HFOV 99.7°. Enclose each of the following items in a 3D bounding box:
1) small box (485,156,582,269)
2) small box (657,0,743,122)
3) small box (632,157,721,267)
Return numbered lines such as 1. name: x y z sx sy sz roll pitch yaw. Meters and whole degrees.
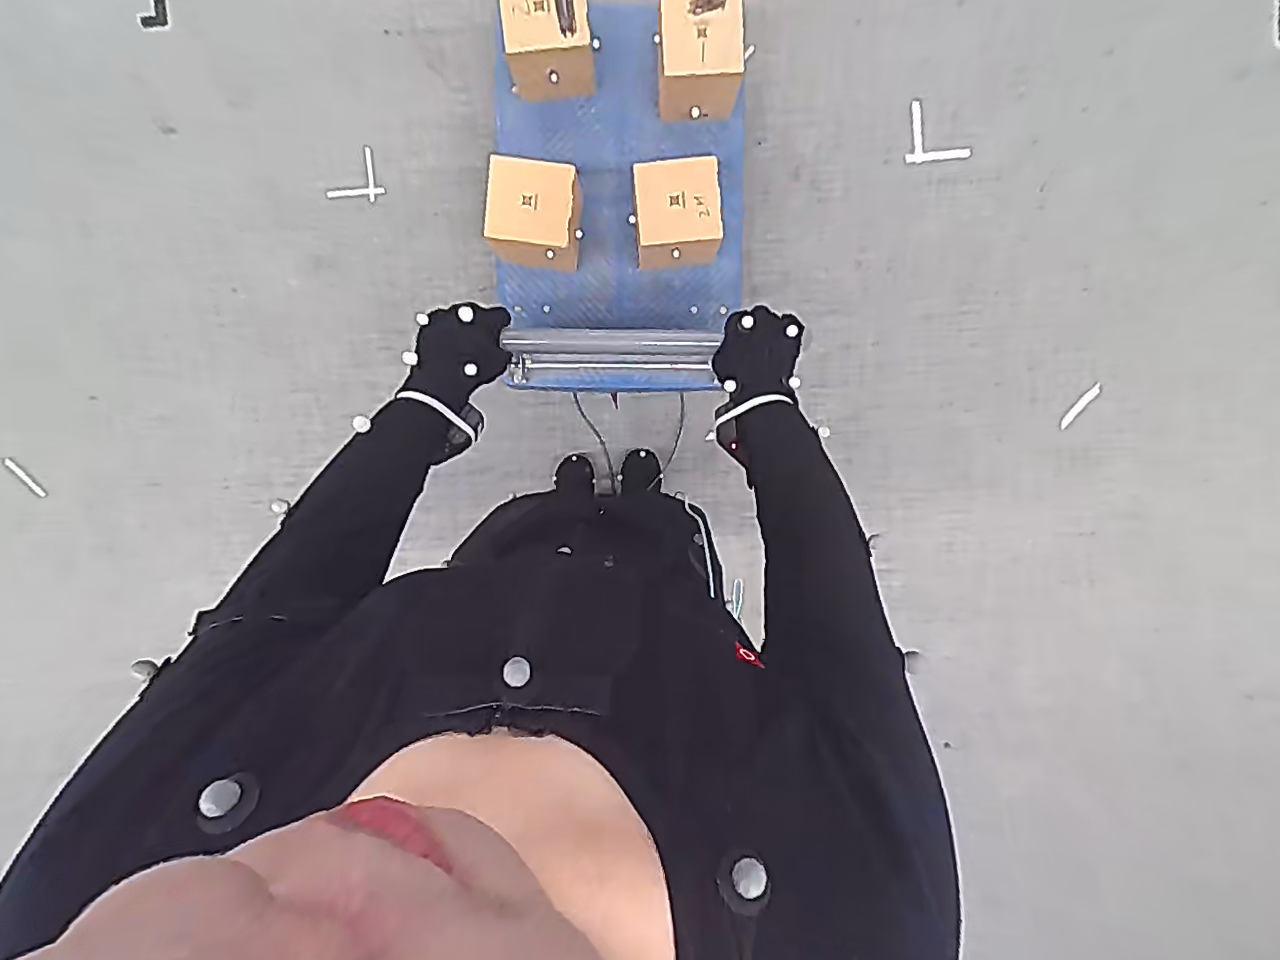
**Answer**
1. small box: -0.228 -0.582 1.196 0.179 0.176 0.168 6 94 -2
2. small box: 0.125 -0.918 1.173 0.168 0.176 0.179 -3 95 0
3. small box: 0.078 -0.584 1.198 0.179 0.176 0.168 -5 95 0
